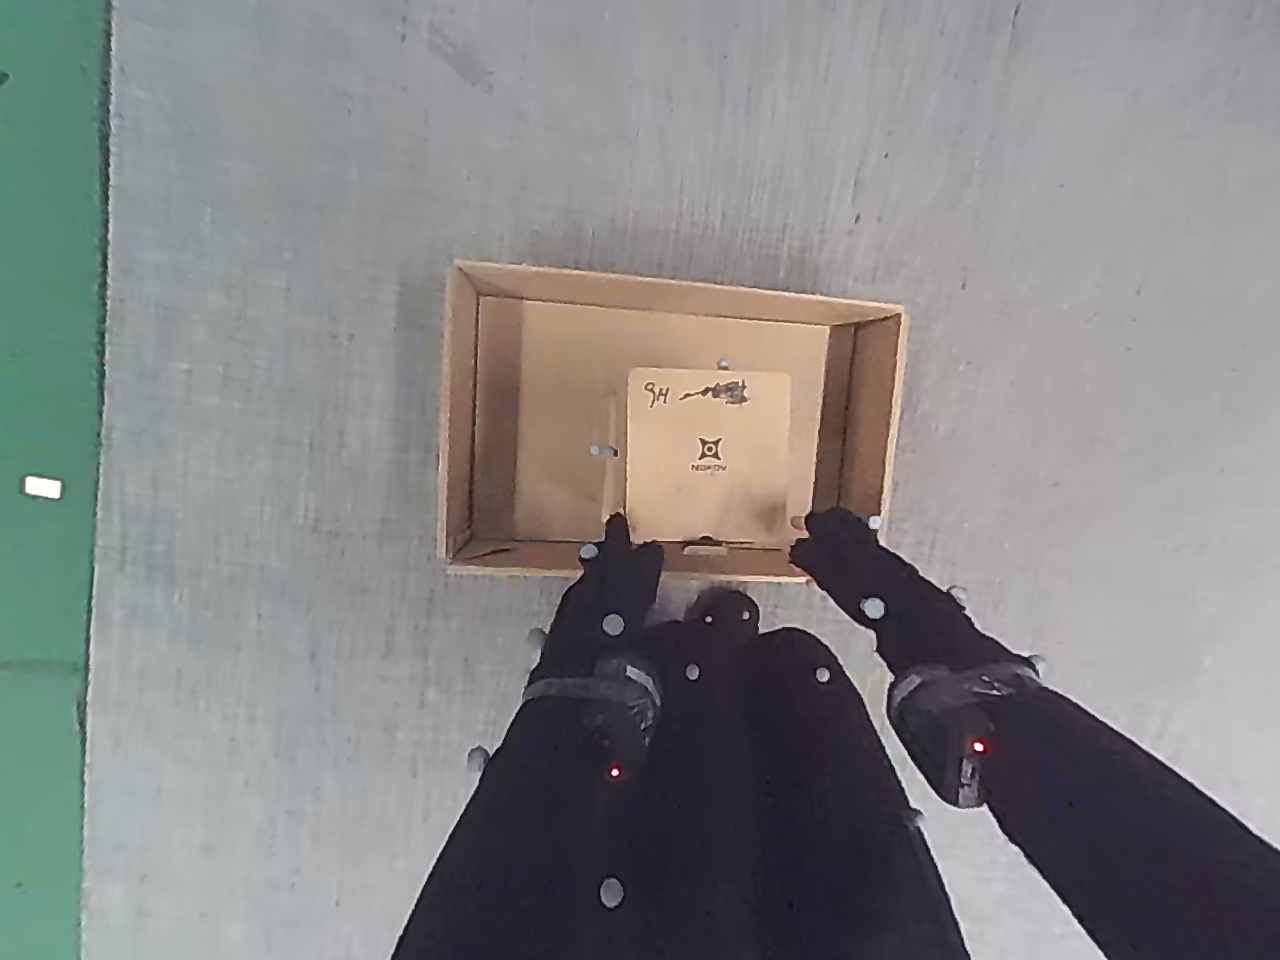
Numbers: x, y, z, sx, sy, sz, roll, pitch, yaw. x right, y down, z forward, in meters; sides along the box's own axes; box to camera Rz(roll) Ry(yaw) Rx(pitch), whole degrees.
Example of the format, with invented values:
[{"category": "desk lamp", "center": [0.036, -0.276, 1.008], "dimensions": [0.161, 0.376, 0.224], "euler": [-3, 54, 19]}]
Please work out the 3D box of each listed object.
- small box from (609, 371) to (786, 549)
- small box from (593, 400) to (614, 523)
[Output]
[{"category": "small box", "center": [0.053, -0.026, 0.621], "dimensions": [0.168, 0.176, 0.179], "euler": [1, 95, -7]}, {"category": "small box", "center": [0.026, -0.024, 0.799], "dimensions": [0.179, 0.176, 0.168], "euler": [5, 94, -6]}]
